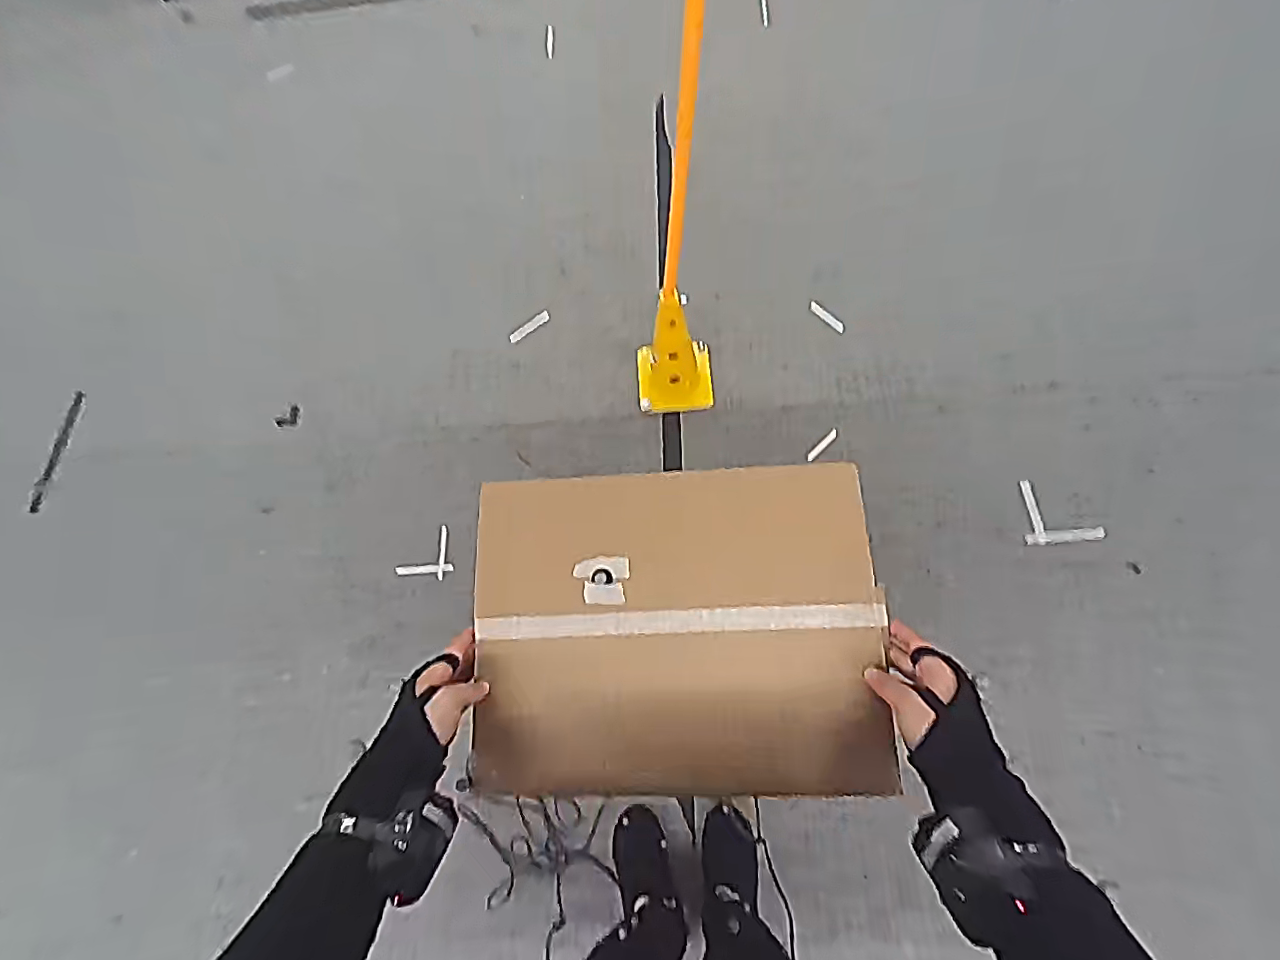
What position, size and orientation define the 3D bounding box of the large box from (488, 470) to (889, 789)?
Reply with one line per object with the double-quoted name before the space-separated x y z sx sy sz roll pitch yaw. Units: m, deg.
"large box" 0.053 0.187 0.712 0.408 0.320 0.320 -4 75 6
